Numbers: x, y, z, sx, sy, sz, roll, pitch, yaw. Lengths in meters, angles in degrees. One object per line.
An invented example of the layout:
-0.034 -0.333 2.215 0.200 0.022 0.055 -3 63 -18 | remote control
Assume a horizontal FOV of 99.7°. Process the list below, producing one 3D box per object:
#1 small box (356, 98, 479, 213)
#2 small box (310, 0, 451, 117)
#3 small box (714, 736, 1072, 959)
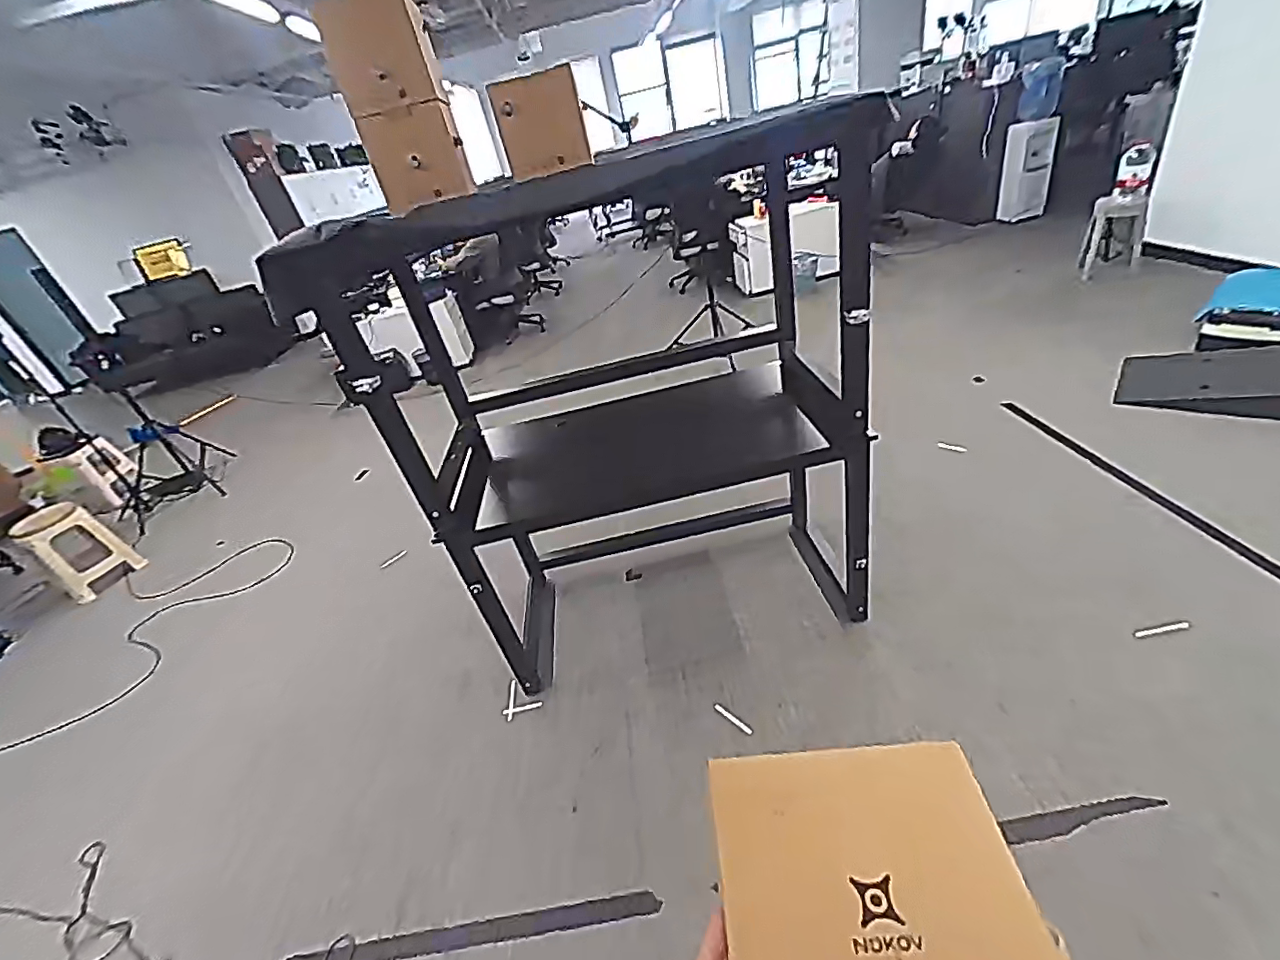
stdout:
-0.443 -0.660 1.110 0.168 0.176 0.179 -15 32 -2 | small box
-0.476 -0.798 1.026 0.168 0.176 0.179 -16 32 -1 | small box
0.138 0.290 0.337 0.168 0.176 0.179 -6 37 3 | small box
